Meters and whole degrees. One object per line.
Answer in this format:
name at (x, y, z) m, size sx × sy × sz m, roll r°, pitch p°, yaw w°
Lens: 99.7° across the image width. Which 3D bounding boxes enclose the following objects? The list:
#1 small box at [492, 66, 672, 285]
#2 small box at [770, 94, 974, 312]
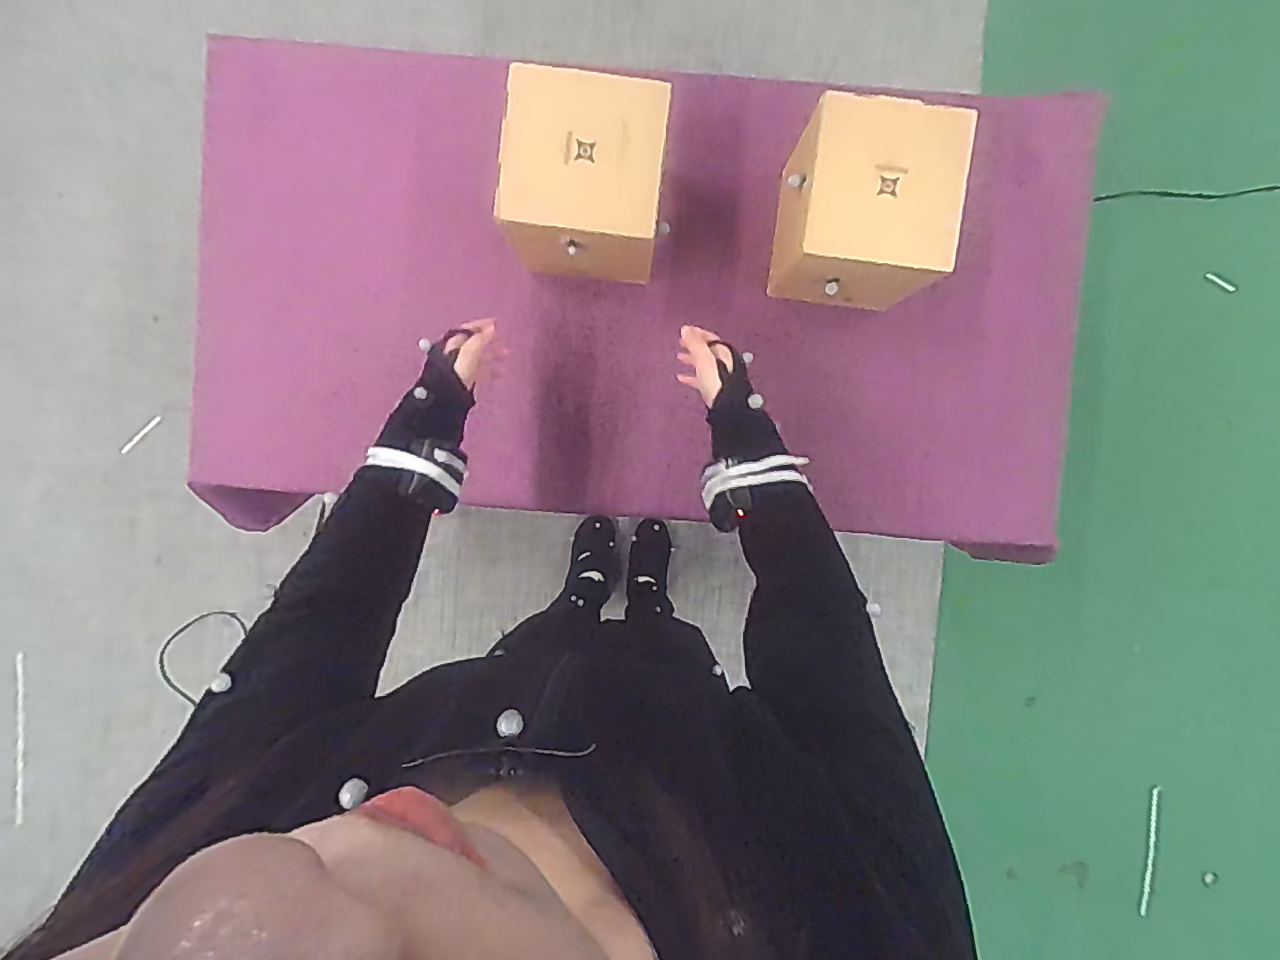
small box at (-0.063, -0.351, 0.657) m, size 0.179 × 0.176 × 0.168 m, roll 8°, pitch 93°, yaw -1°
small box at (0.264, -0.317, 0.657) m, size 0.168 × 0.176 × 0.179 m, roll 8°, pitch 92°, yaw 0°
